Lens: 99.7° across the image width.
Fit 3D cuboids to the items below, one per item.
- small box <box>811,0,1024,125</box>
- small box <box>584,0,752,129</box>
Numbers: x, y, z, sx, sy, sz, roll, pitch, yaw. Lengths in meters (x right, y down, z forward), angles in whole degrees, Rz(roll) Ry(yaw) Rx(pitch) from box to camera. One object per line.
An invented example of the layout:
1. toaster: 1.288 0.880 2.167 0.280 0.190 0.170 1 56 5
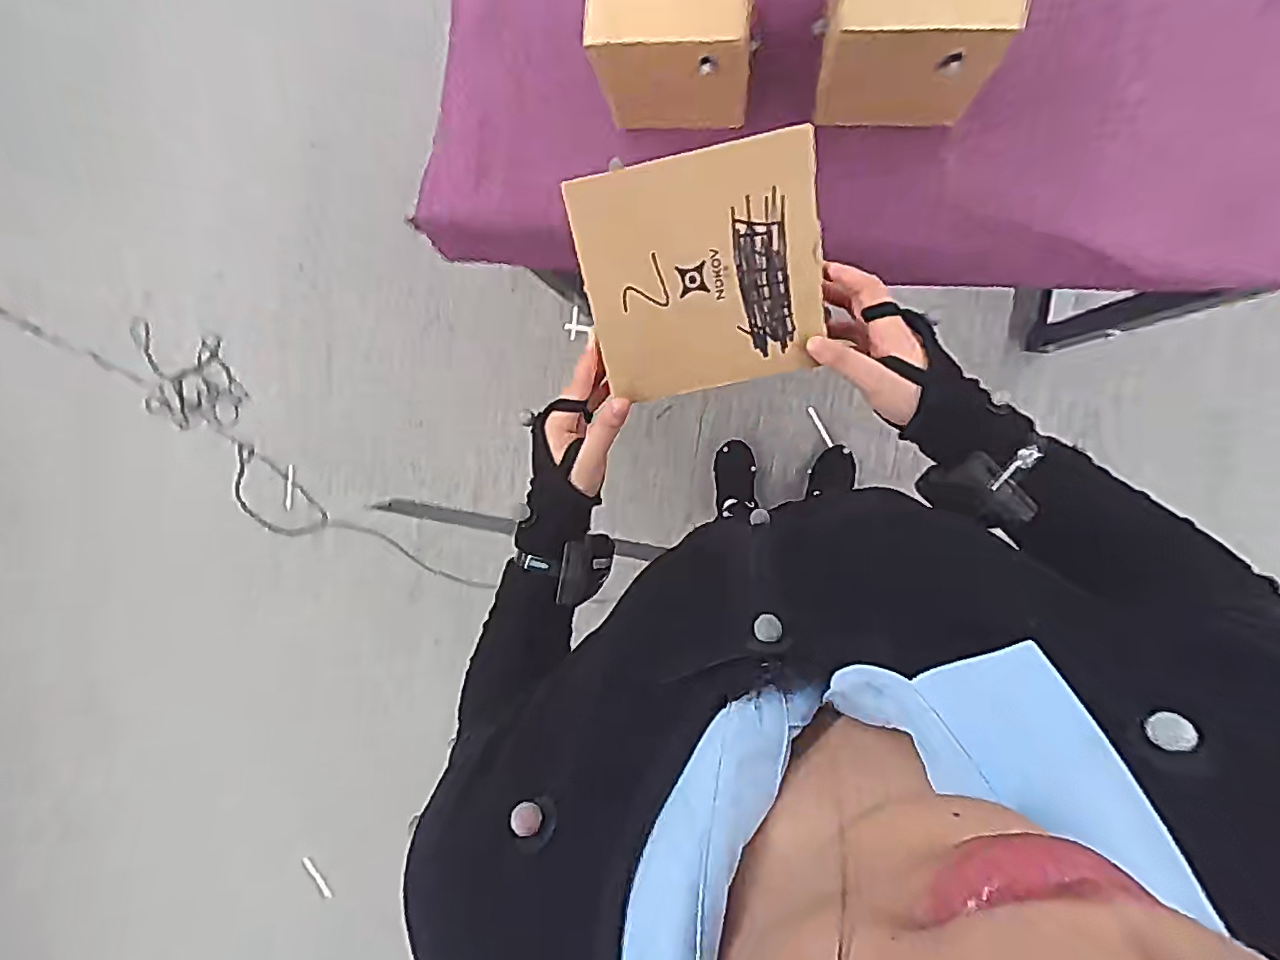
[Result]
1. small box: 0.303 -0.530 0.608 0.179 0.176 0.168 6 95 8
2. small box: 0.042 -0.554 0.653 0.179 0.176 0.168 5 95 9
